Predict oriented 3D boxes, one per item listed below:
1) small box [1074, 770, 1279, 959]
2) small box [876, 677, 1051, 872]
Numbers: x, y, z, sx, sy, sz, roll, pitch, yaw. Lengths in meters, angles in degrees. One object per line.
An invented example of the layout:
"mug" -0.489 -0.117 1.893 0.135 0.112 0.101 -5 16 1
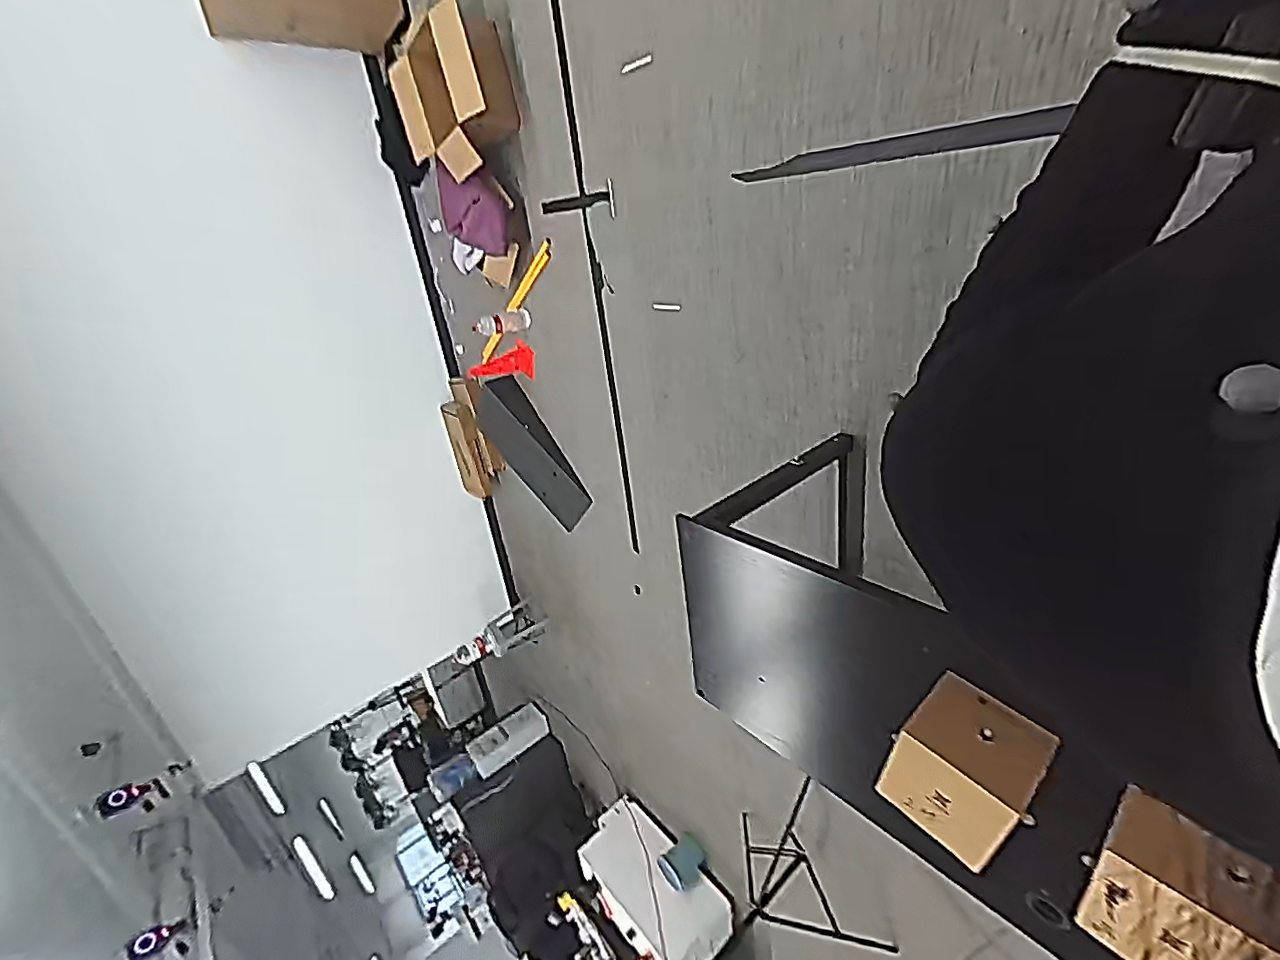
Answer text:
"small box" 0.678 0.503 0.658 0.179 0.176 0.168 22 128 45
"small box" 0.509 0.453 0.855 0.168 0.176 0.179 33 135 40
